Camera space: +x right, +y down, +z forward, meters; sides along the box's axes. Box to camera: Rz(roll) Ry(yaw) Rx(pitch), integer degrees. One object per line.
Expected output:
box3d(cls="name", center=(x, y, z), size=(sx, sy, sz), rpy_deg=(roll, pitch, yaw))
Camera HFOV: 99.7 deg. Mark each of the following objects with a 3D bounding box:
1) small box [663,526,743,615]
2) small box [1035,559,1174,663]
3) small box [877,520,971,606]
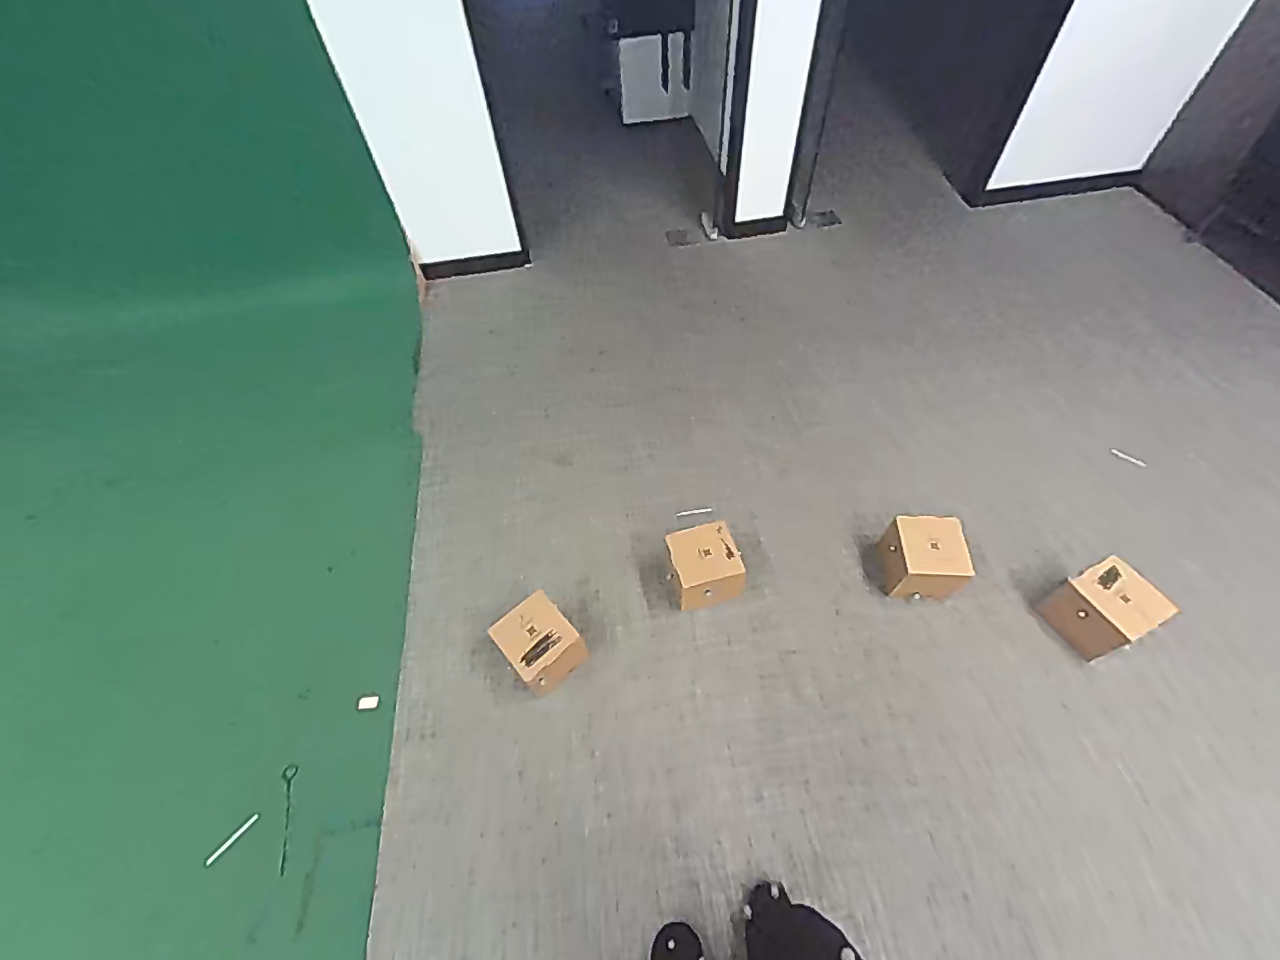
box3d(cls="small box", center=(0.172, 0.256, 1.500), size=(0.179, 0.176, 0.168), rpy_deg=(-15, 55, -6))
box3d(cls="small box", center=(1.177, 0.340, 1.389), size=(0.168, 0.176, 0.179), rpy_deg=(-24, 57, -13))
box3d(cls="small box", center=(0.771, 0.229, 1.489), size=(0.168, 0.176, 0.179), rpy_deg=(2, 55, 5))
